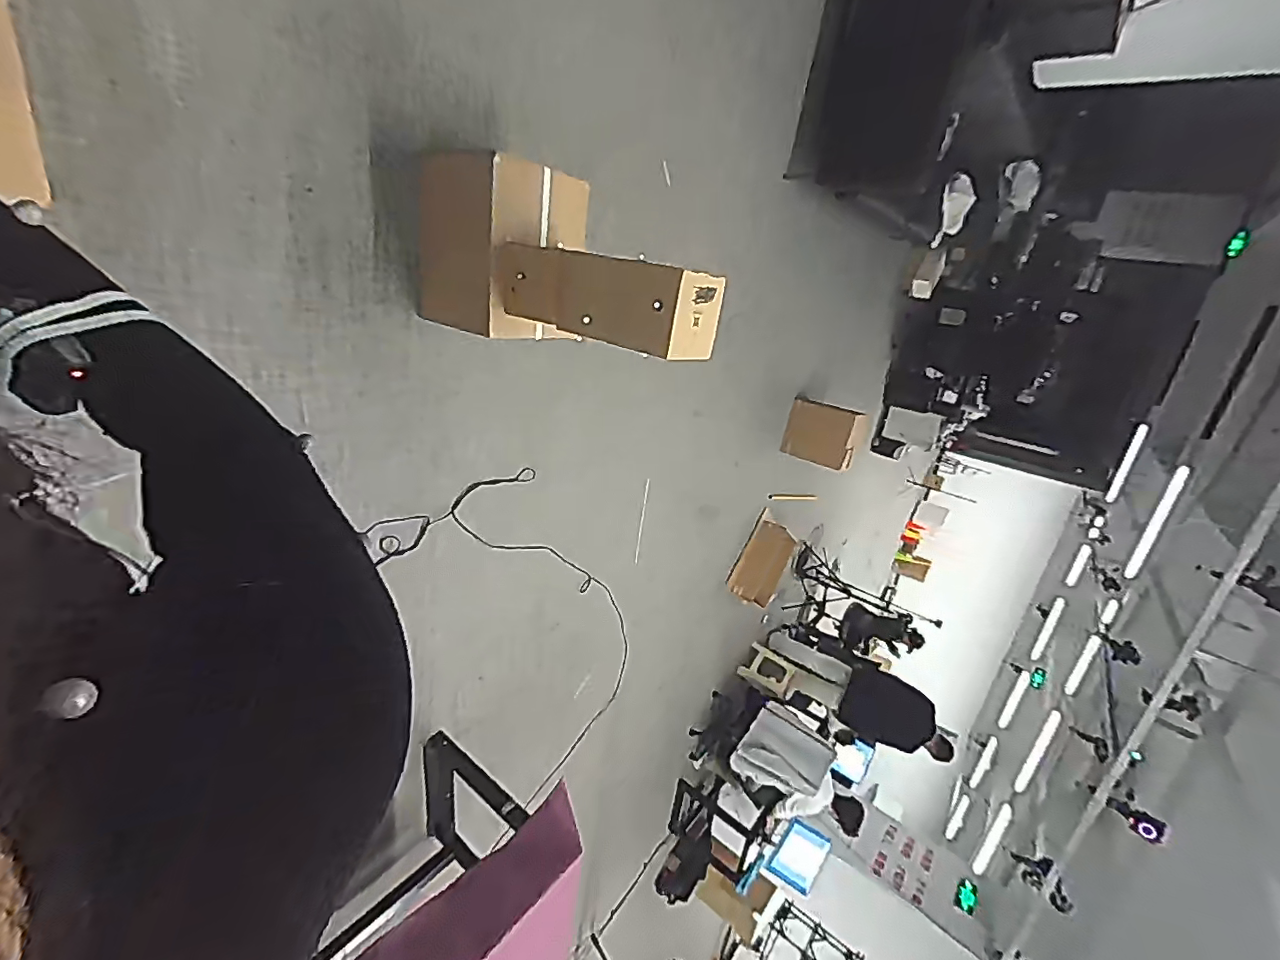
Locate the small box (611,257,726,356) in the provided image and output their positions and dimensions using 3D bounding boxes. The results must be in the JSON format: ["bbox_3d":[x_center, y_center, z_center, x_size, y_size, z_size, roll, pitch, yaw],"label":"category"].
[{"bbox_3d":[0.056,-0.372,1.160,0.168,0.176,0.179,-16,124,-50],"label":"small box"}]

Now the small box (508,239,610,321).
[{"bbox_3d":[-0.200,-0.490,1.329,0.179,0.176,0.168,-20,125,-48],"label":"small box"}]
